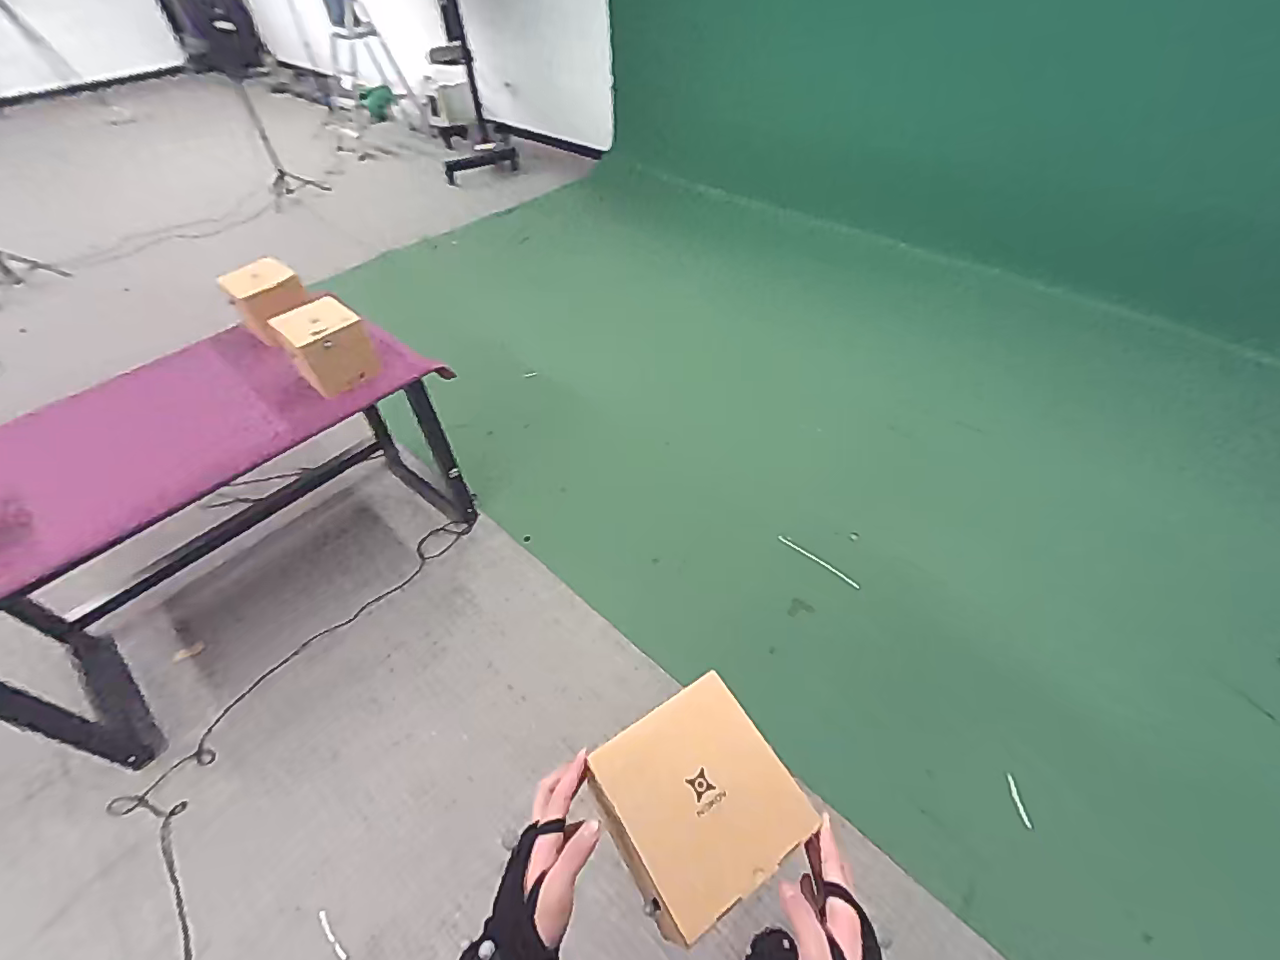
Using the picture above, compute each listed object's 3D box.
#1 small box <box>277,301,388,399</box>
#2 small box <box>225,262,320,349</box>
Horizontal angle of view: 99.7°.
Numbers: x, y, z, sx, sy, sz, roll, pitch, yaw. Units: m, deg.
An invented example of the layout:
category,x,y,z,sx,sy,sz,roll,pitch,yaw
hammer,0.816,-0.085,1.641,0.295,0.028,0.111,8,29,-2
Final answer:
category,x,y,z,sx,sy,sz,roll,pitch,yaw
small box,-0.817,-0.347,1.449,0.179,0.176,0.168,34,60,29
small box,-1.078,-0.518,1.617,0.179,0.176,0.168,32,61,27
